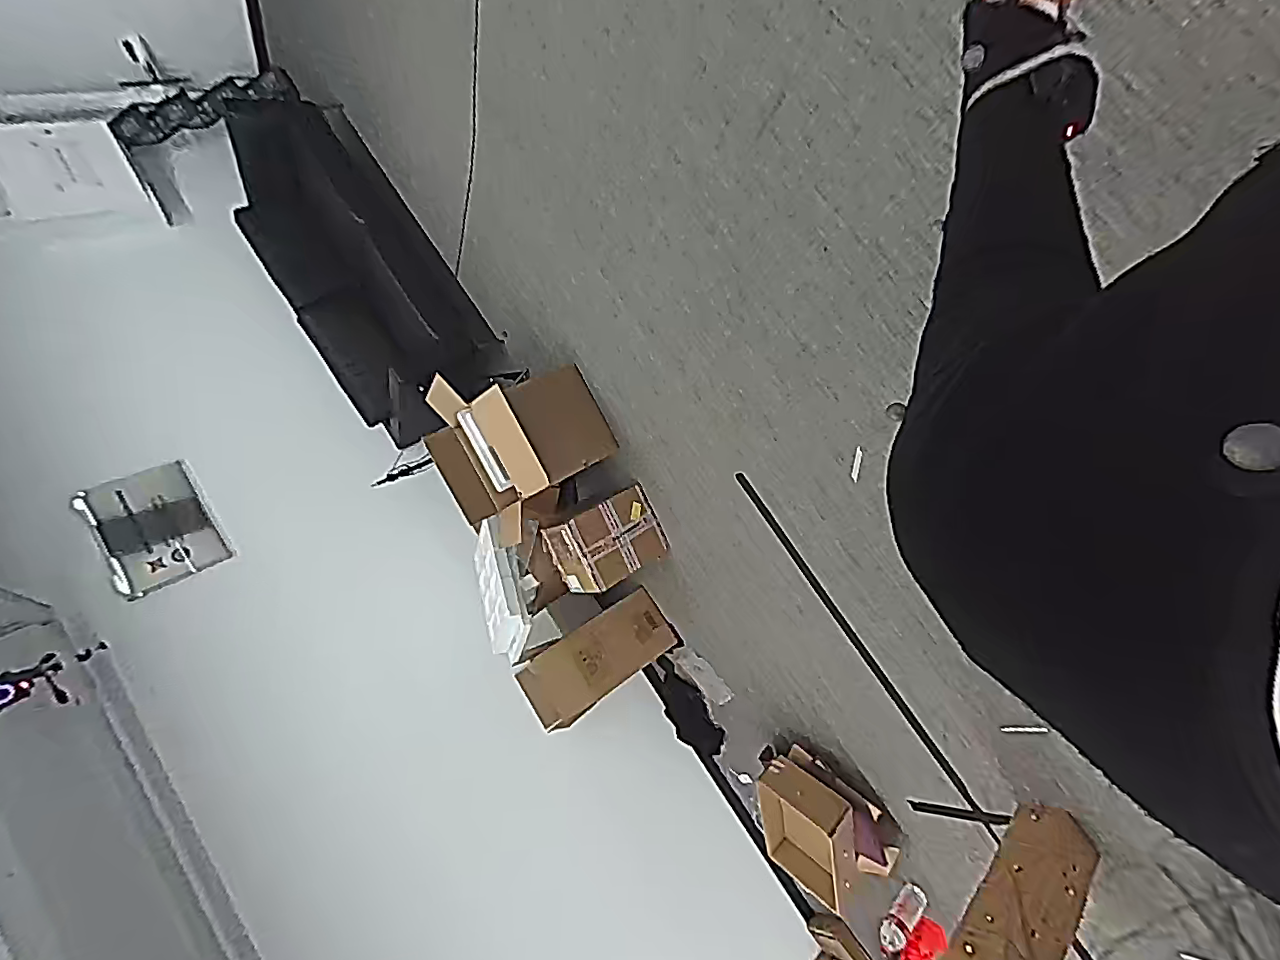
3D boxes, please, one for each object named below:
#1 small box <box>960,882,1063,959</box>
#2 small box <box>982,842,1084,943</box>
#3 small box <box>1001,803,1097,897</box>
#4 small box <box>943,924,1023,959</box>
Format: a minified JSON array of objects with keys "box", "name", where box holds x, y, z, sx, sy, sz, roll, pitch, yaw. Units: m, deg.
[{"box":[1.107,1.341,1.602,0.168,0.176,0.179,56,148,8],"name":"small box"},{"box":[1.229,1.274,1.687,0.168,0.176,0.179,56,147,7],"name":"small box"},{"box":[1.348,1.210,1.779,0.179,0.176,0.168,56,147,7],"name":"small box"},{"box":[0.984,1.408,1.518,0.179,0.176,0.168,57,147,9],"name":"small box"}]
